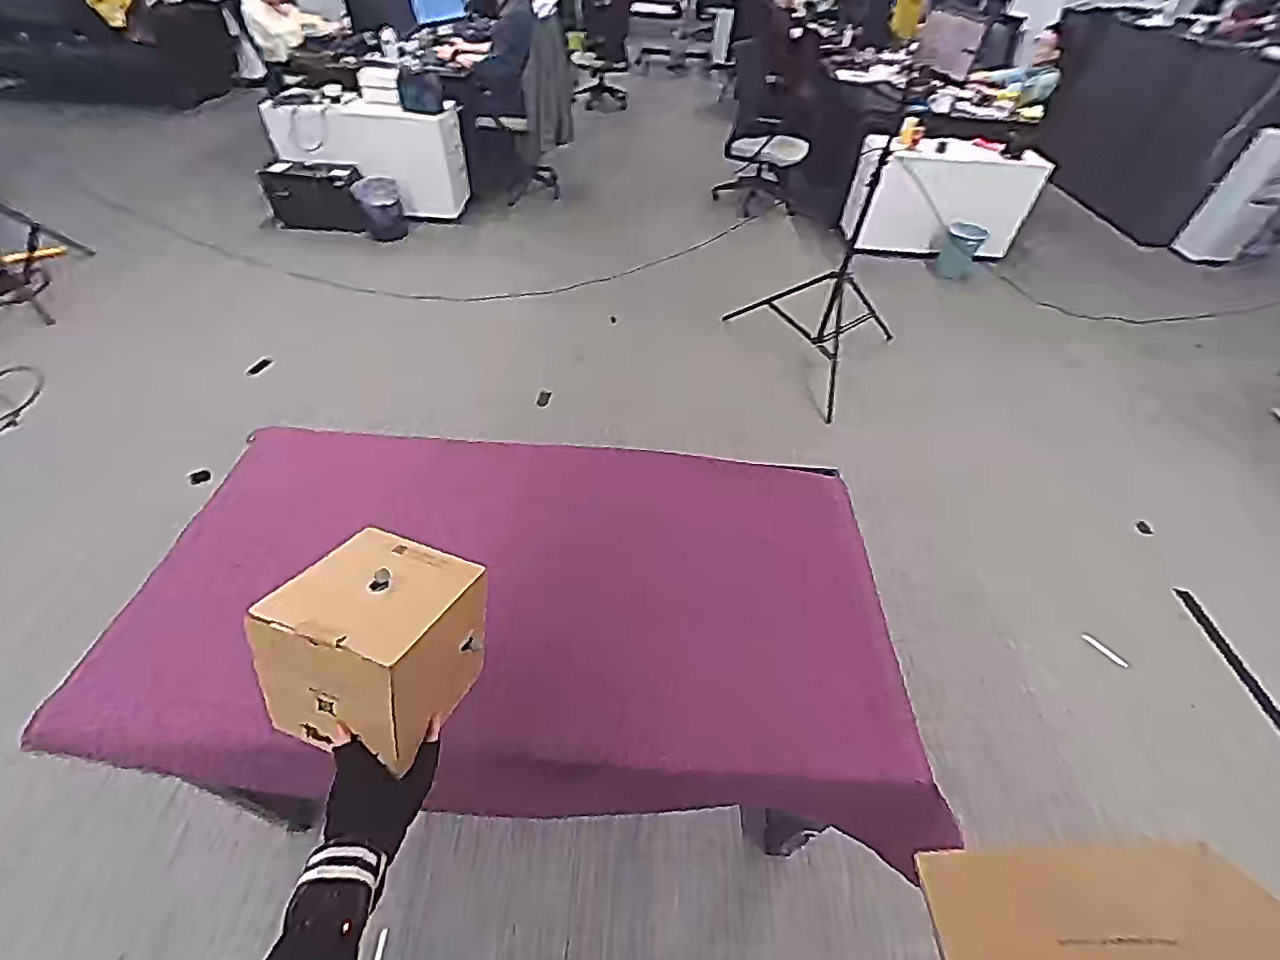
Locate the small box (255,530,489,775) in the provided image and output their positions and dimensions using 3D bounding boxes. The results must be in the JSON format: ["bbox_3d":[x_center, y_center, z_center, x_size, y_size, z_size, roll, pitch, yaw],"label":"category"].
[{"bbox_3d":[-0.287,0.182,0.614,0.168,0.179,0.176,16,27,11],"label":"small box"}]

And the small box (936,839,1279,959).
[{"bbox_3d":[0.254,0.297,0.243,0.168,0.179,0.176,-14,80,18],"label":"small box"}]
